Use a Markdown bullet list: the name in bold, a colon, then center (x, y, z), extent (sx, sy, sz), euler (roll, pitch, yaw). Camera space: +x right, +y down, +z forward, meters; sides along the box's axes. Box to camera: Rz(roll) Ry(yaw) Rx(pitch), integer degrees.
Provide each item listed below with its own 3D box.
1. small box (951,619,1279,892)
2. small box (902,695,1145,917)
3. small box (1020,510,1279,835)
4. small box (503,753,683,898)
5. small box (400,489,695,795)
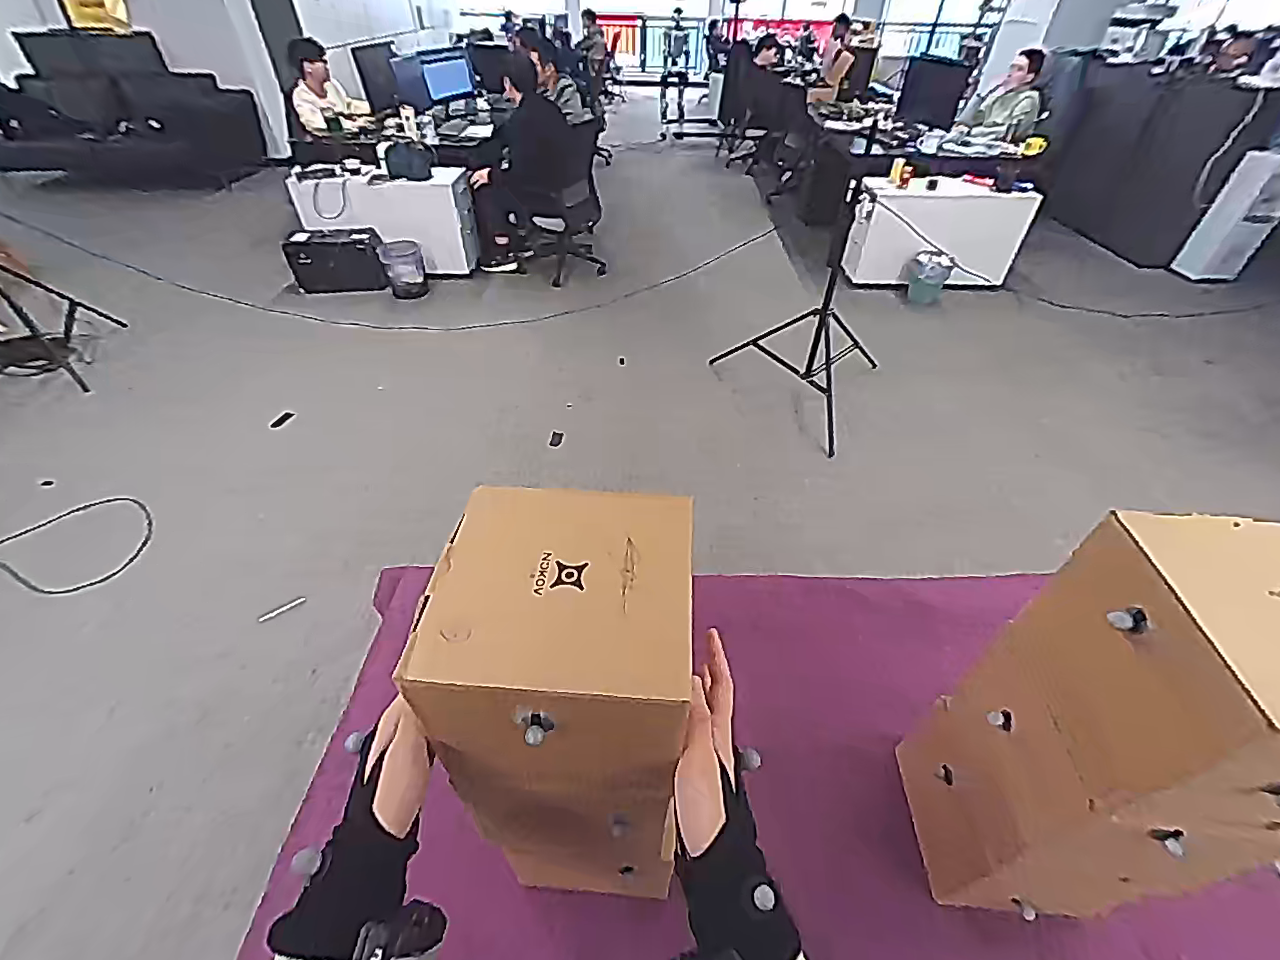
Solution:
- **small box**: center (0.435, 0.262, 0.523), extent (0.168, 0.176, 0.179), euler (4, 41, 5)
- **small box**: center (0.434, 0.381, 0.636), extent (0.168, 0.176, 0.179), euler (3, 42, 3)
- **small box**: center (0.437, 0.146, 0.408), extent (0.168, 0.176, 0.179), euler (4, 42, 4)
- **small box**: center (-0.043, 0.370, 0.638), extent (0.179, 0.176, 0.168), euler (3, 41, 3)
- **small box**: center (-0.050, 0.126, 0.422), extent (0.179, 0.176, 0.168), euler (3, 43, 2)
